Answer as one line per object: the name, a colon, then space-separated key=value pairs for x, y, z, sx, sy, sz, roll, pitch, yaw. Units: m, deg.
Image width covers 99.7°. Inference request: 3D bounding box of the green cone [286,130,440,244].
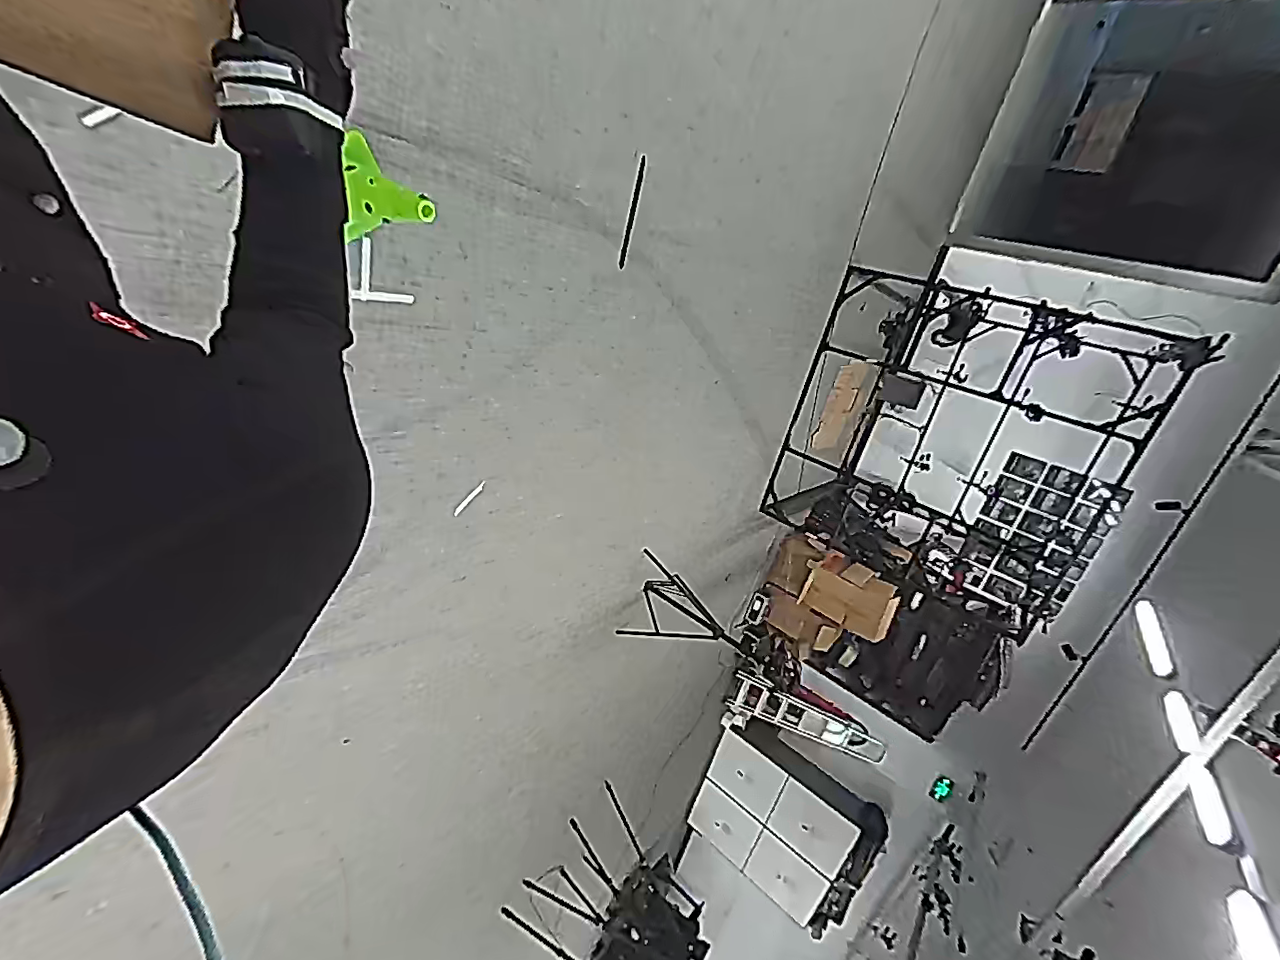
green cone: x=-0.573 y=-0.629 z=1.209 sx=0.202 sy=0.368 sz=0.200 roll=-48 pitch=147 yaw=-25
